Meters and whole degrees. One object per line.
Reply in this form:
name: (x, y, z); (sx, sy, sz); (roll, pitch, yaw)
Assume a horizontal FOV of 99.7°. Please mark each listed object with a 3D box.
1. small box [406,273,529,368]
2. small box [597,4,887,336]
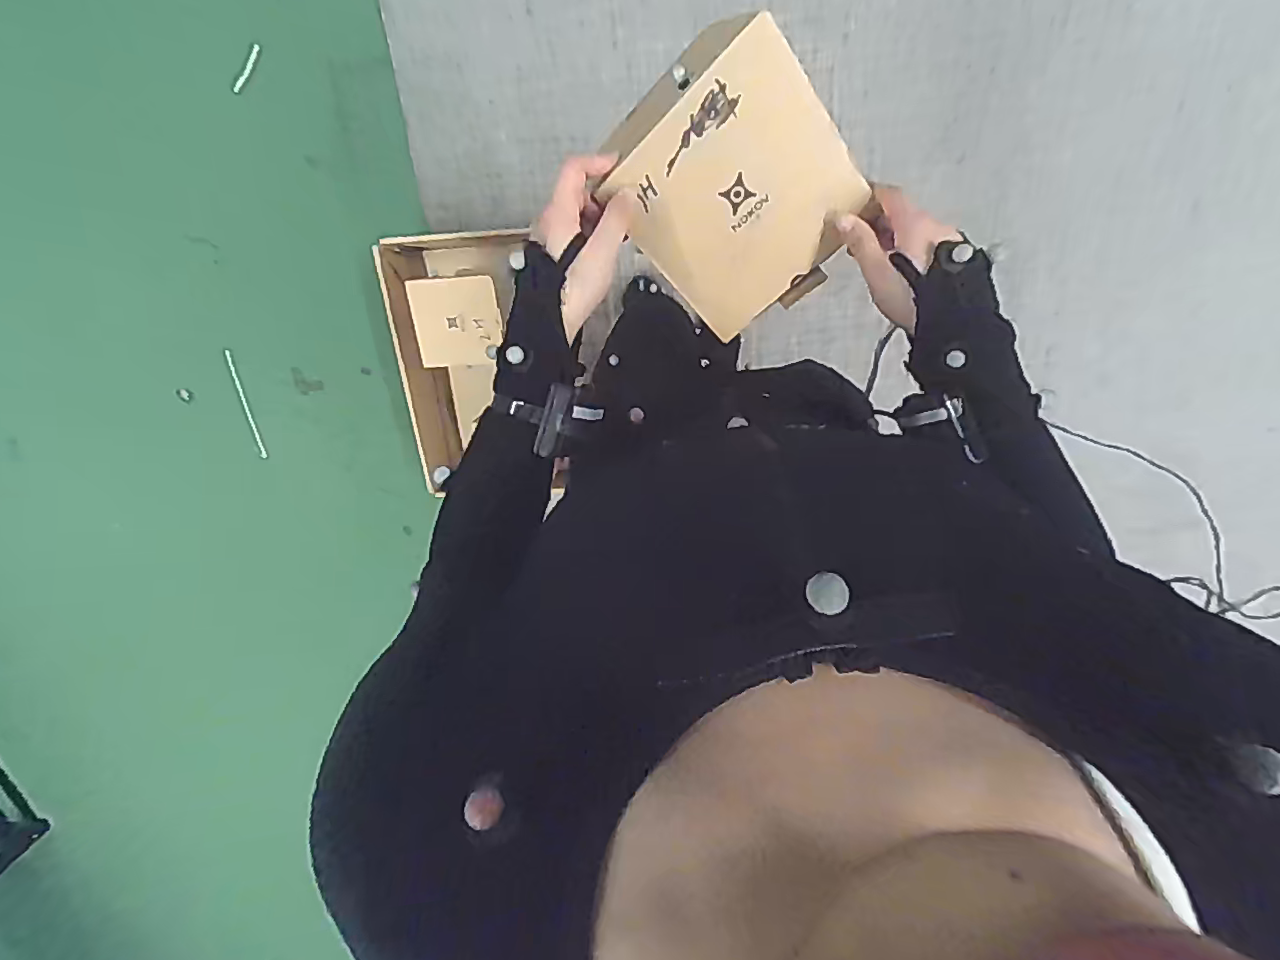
small box: (-0.341, -0.329, 1.105); (0.179, 0.176, 0.168); (-2, 113, 5)
small box: (0.079, -0.271, 0.484); (0.168, 0.176, 0.179); (-38, 123, 21)
